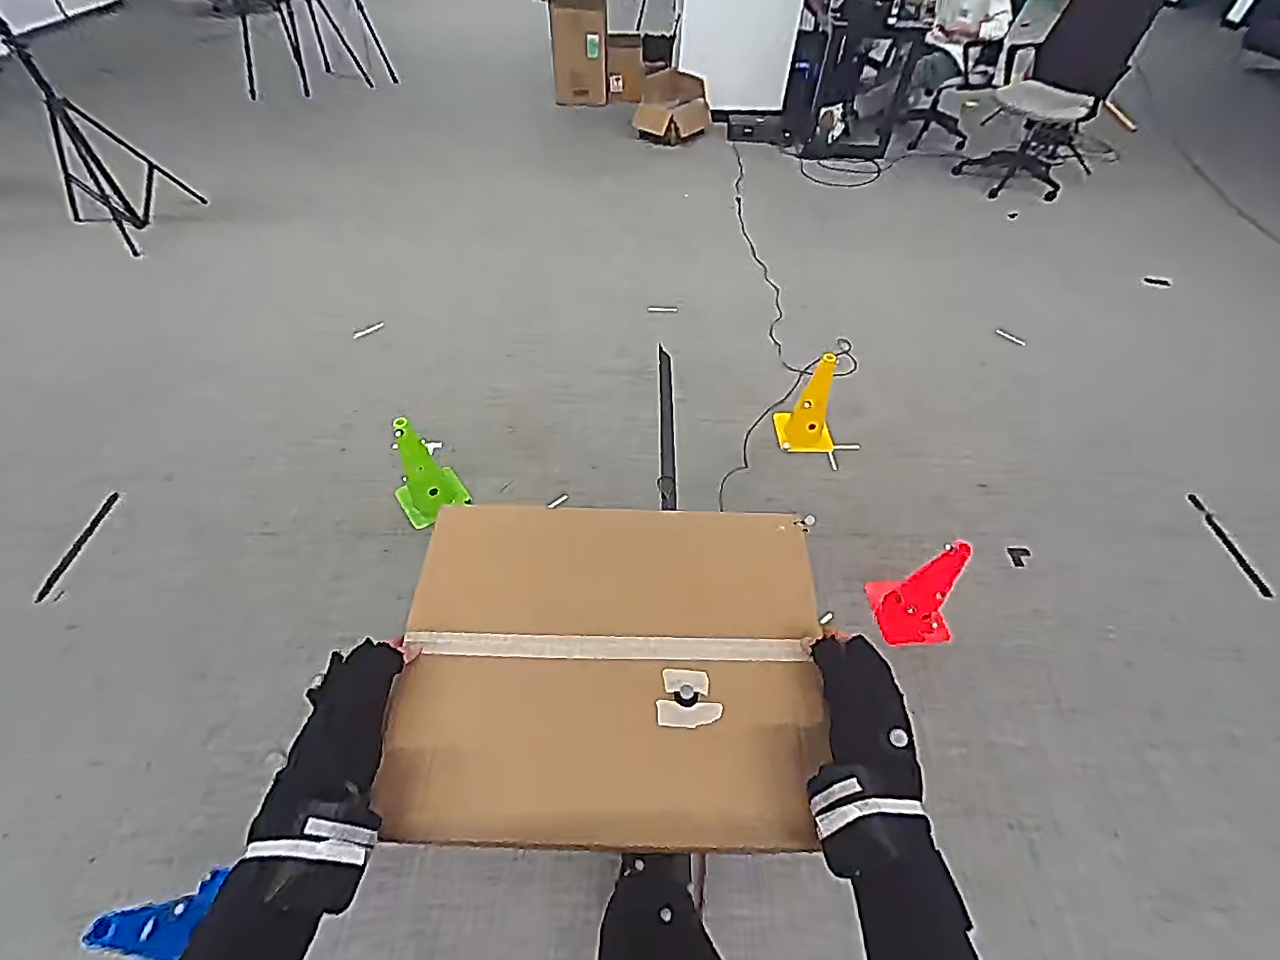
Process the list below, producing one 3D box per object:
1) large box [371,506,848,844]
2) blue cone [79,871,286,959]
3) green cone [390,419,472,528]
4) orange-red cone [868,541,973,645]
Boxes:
[{"bbox_3d":[-0.028,0.246,0.650,0.408,0.320,0.320,2,55,-1],"label":"large box"},{"bbox_3d":[-0.847,0.819,0.986,0.192,0.380,0.193,3,50,2],"label":"blue cone"},{"bbox_3d":[-0.692,-0.054,1.689,0.202,0.368,0.200,-31,57,-22],"label":"green cone"},{"bbox_3d":[0.792,0.278,1.459,0.198,0.360,0.199,0,49,-3],"label":"orange-red cone"}]
